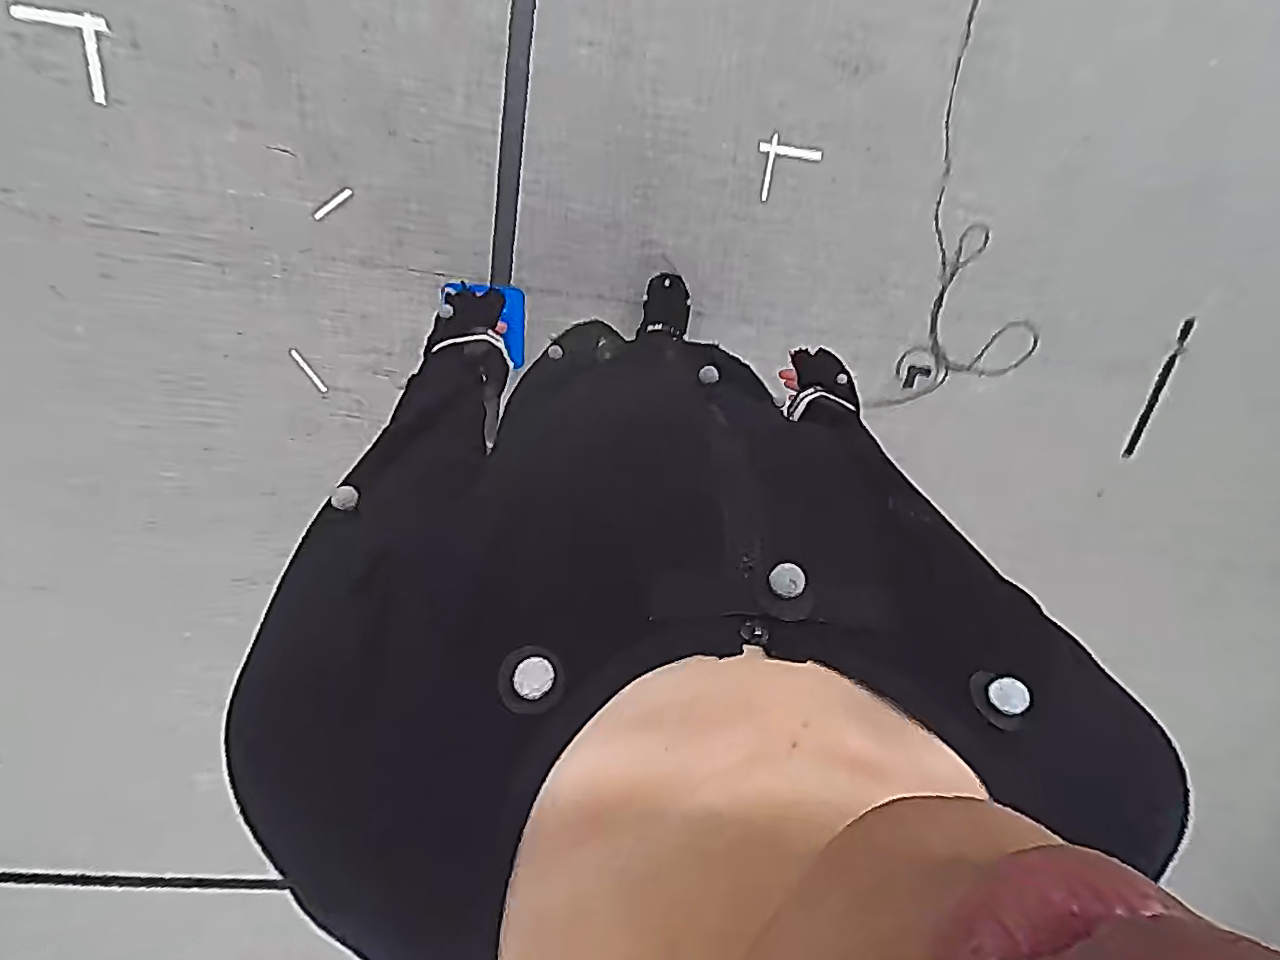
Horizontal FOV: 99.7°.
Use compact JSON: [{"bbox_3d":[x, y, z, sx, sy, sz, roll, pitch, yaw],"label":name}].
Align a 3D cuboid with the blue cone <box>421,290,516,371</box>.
[{"bbox_3d":[-0.393,-0.321,1.184,0.192,0.380,0.193,4,107,-5],"label":"blue cone"}]
